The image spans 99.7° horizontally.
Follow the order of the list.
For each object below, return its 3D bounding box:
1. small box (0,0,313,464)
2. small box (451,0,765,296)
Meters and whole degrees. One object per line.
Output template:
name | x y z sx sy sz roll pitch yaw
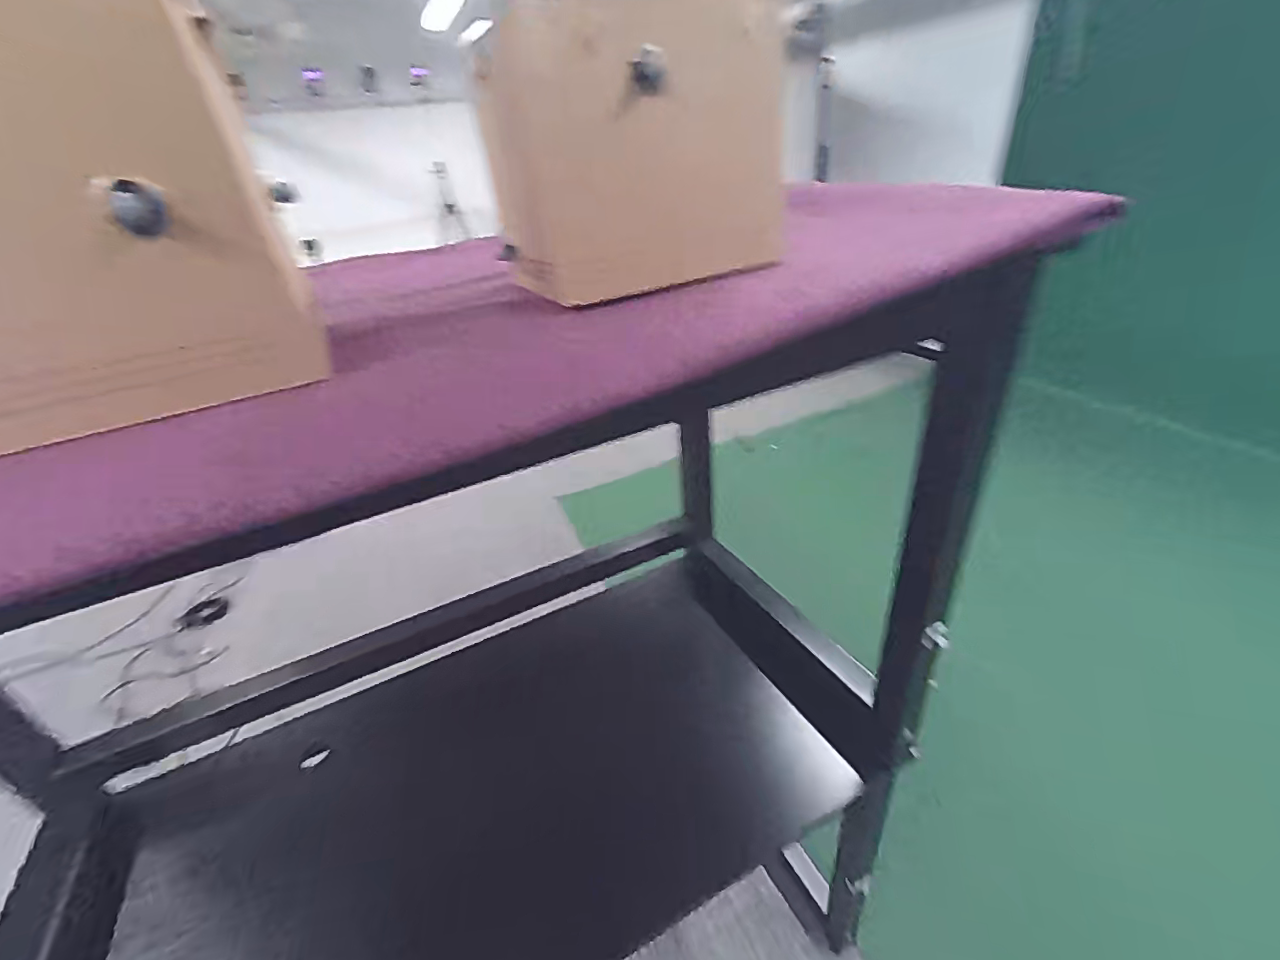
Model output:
small box | -0.291 -0.125 0.277 0.179 0.176 0.168 -22 34 -21
small box | -0.020 -0.245 0.406 0.179 0.176 0.168 -20 32 -19
